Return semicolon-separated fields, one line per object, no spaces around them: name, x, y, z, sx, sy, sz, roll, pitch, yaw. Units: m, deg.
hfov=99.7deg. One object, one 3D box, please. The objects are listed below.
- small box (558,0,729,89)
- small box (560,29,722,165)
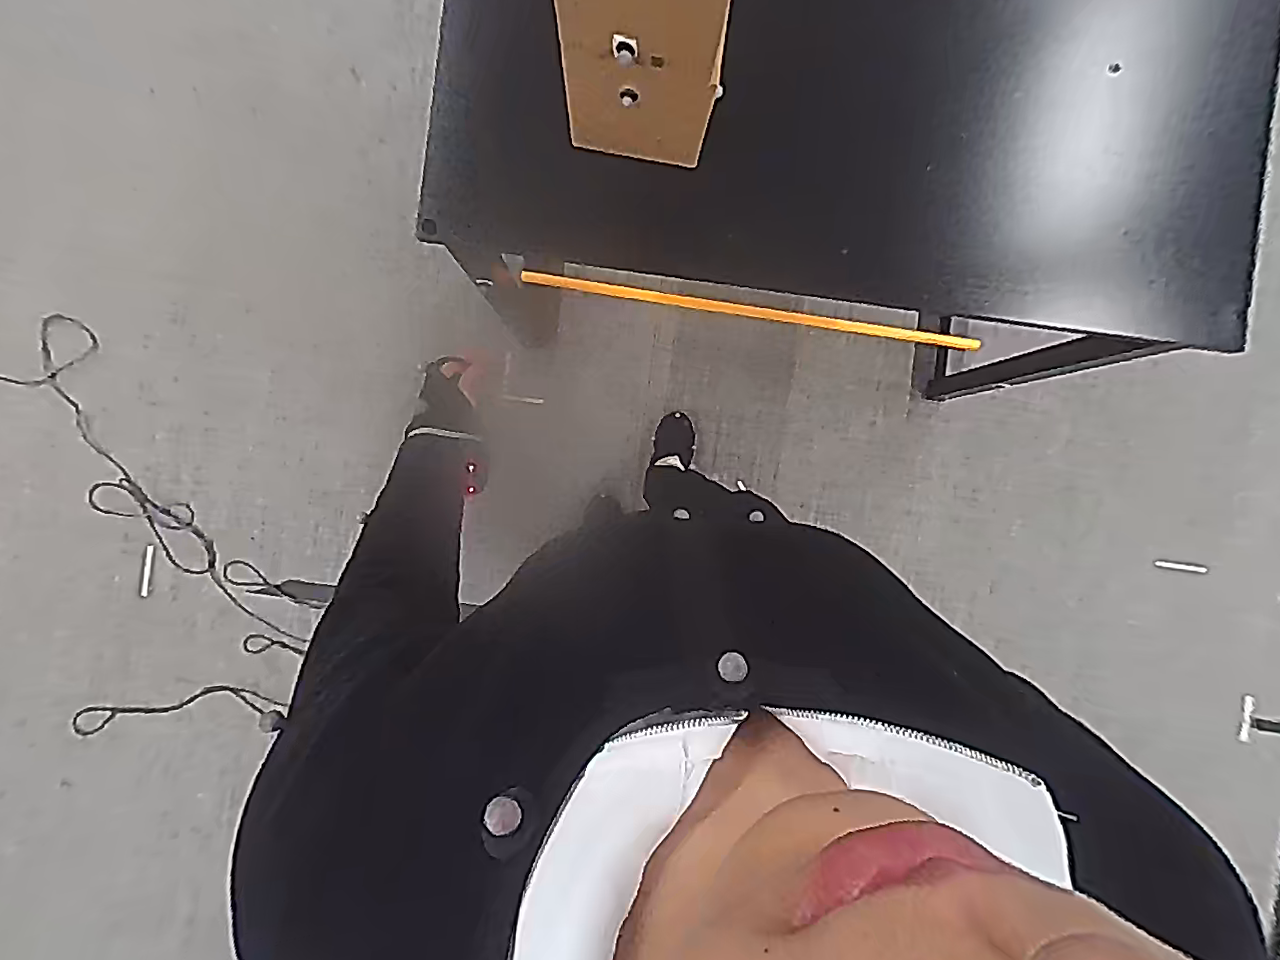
small box;0.009;-0.527;0.515;0.168;0.176;0.179;7;91;-1
small box;0.005;-0.530;0.678;0.179;0.176;0.168;8;90;-4
